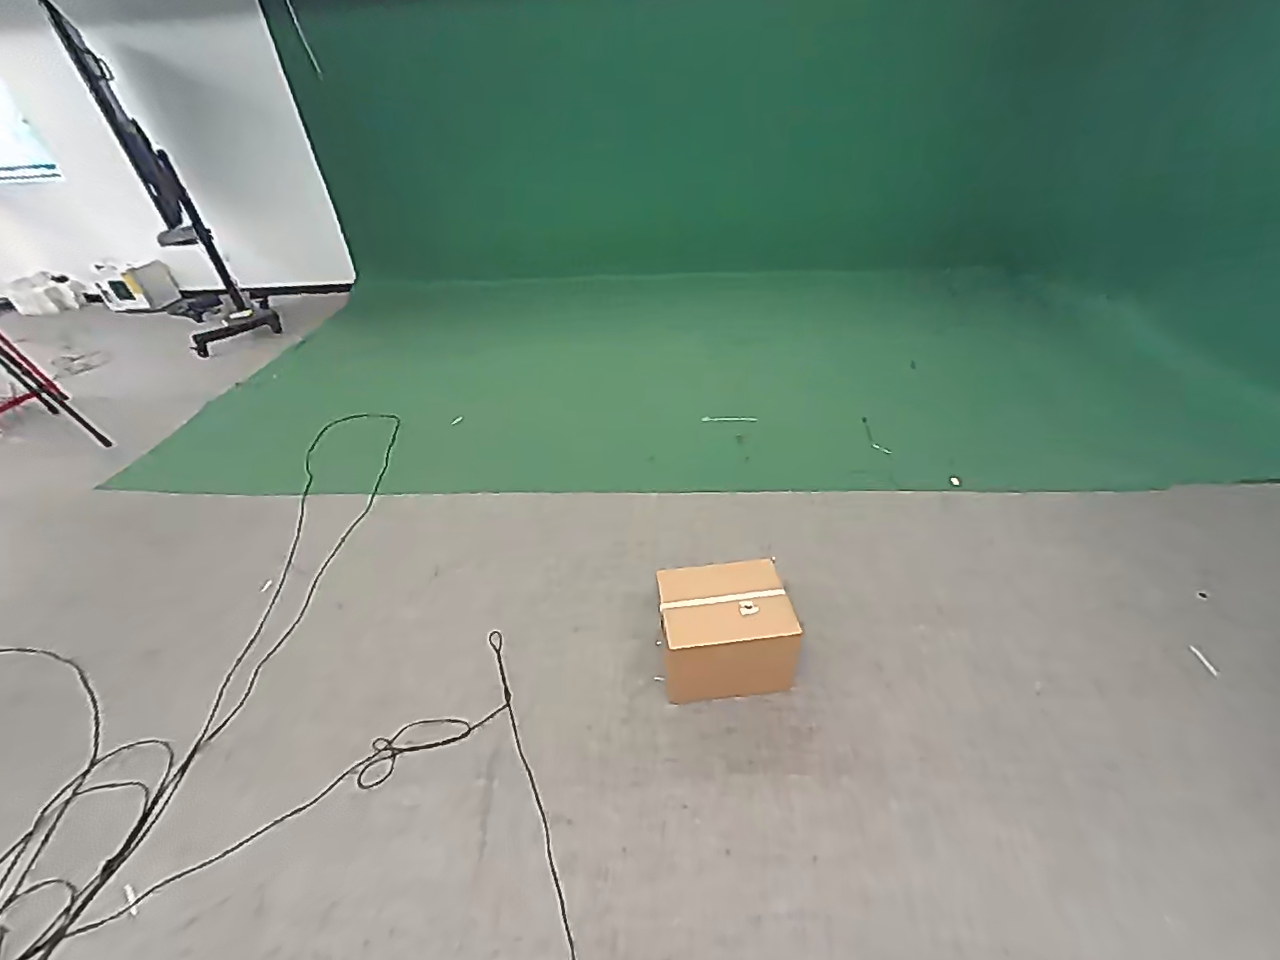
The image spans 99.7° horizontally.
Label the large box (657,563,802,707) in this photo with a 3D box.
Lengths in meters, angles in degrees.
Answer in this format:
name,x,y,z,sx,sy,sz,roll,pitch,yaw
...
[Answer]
name,x,y,z,sx,sy,sz,roll,pitch,yaw
large box,0.279,0.515,1.805,0.408,0.320,0.320,-6,38,-3
